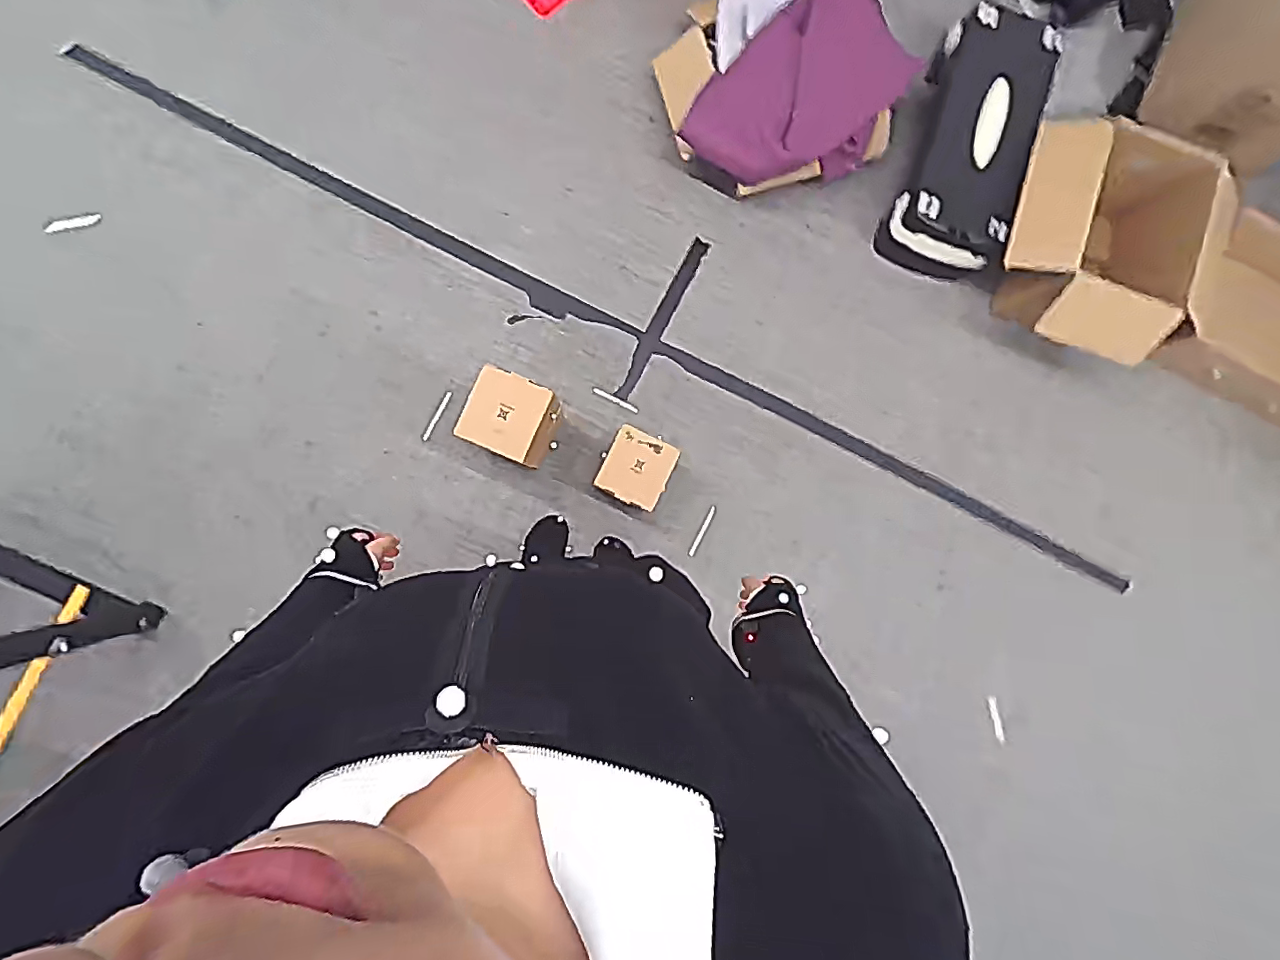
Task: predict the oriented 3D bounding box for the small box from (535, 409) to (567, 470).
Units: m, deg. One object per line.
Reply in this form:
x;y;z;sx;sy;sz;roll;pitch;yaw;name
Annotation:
-0.308;-0.133;1.424;0.179;0.176;0.168;25;86;-3;small box

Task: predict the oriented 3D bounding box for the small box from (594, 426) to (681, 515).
-0.009;-0.020;1.440;0.168;0.176;0.179;27;86;-2;small box

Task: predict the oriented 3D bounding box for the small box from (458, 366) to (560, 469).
-0.295;-0.137;1.262;0.168;0.176;0.179;23;87;-1;small box
